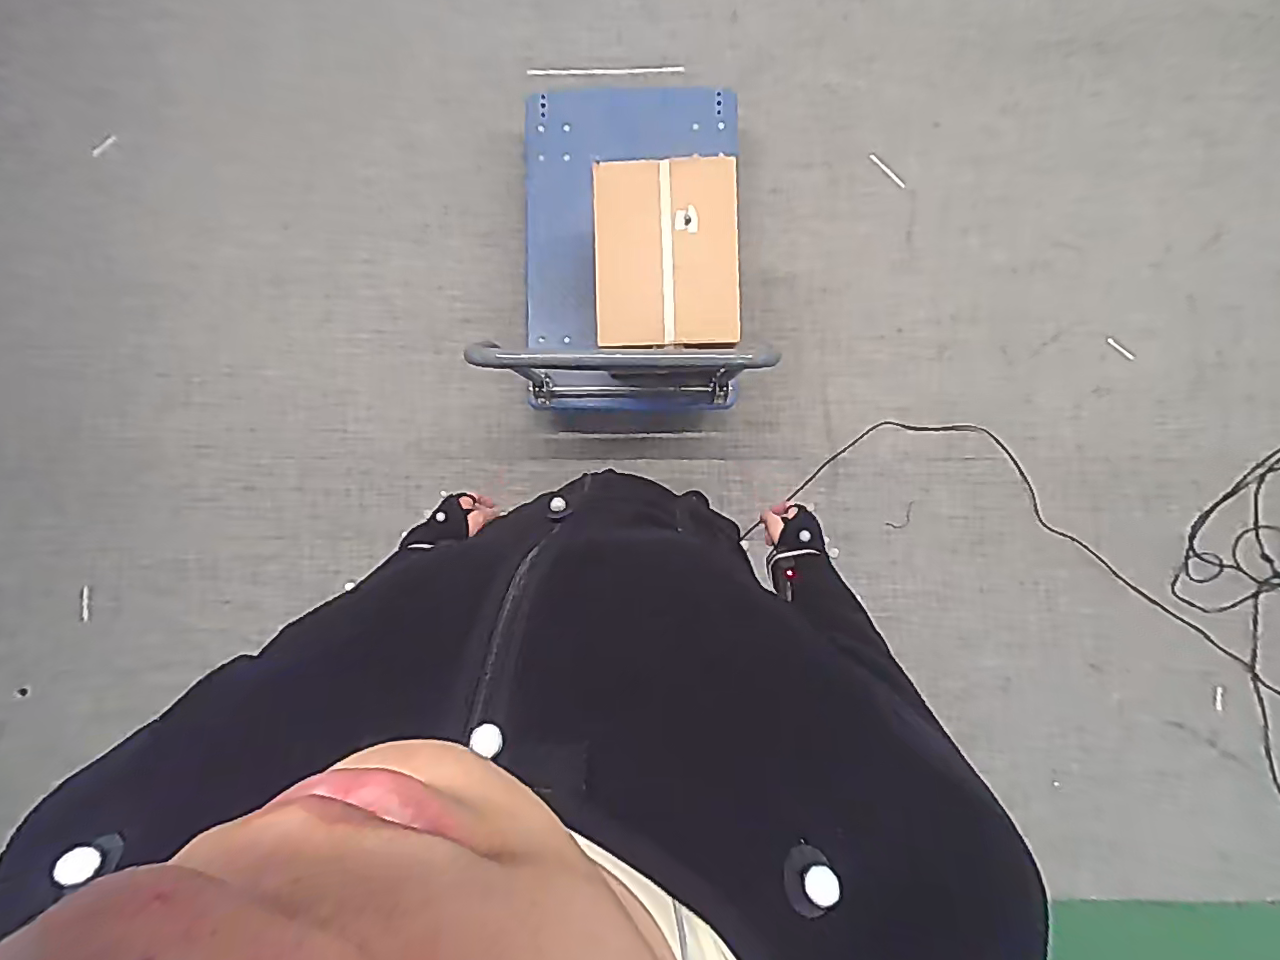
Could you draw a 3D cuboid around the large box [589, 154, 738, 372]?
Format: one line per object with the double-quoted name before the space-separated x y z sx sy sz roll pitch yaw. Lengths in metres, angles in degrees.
"large box" 0.053 -0.496 1.312 0.320 0.320 0.408 -1 90 0
